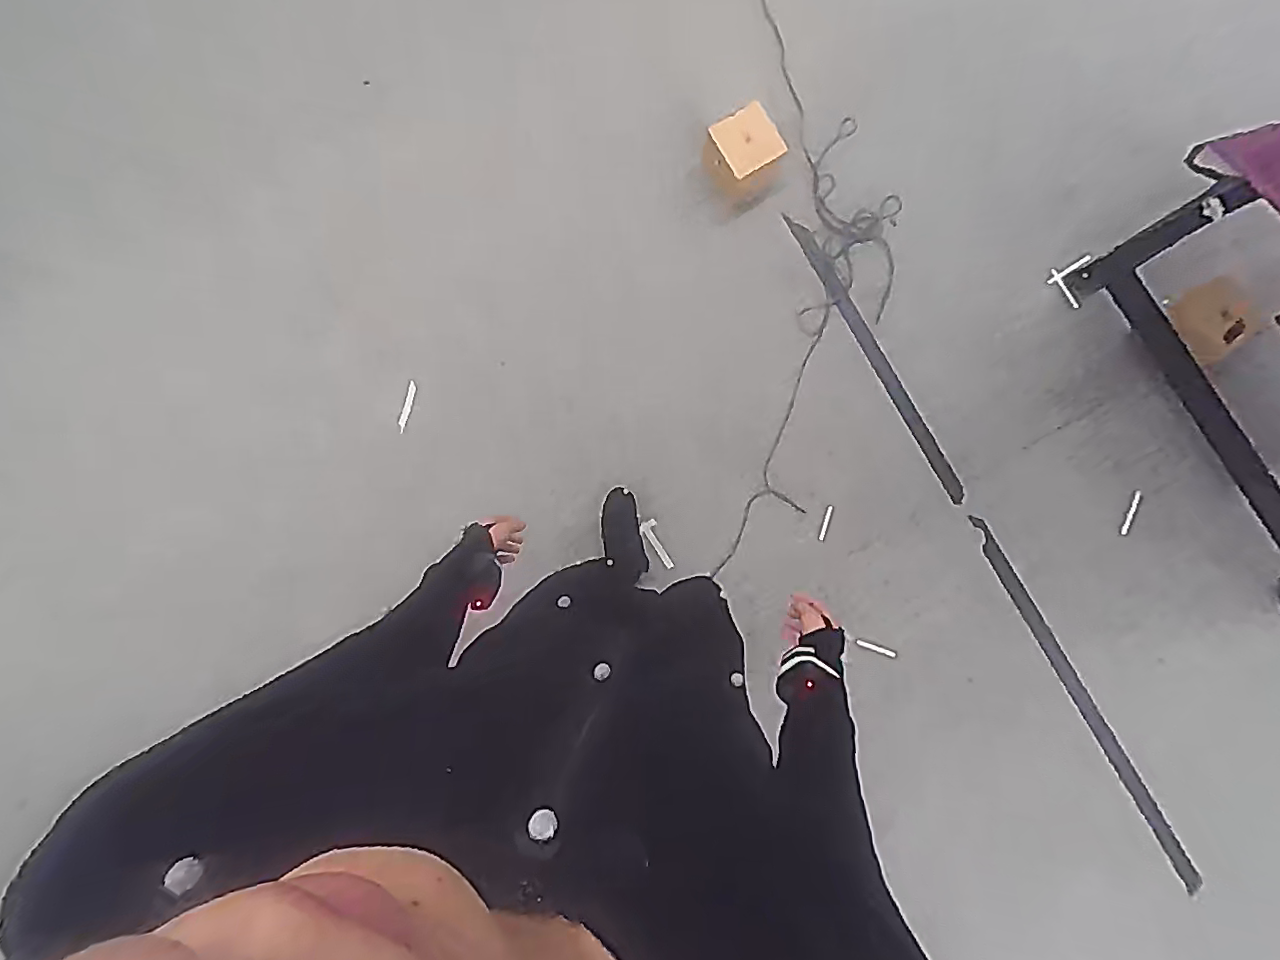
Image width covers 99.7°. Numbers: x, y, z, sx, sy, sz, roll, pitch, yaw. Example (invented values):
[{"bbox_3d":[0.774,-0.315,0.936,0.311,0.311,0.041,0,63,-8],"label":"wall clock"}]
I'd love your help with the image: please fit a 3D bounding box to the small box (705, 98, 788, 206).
[{"bbox_3d":[0.303,-0.951,1.583,0.168,0.176,0.179,-30,88,1],"label":"small box"}]
